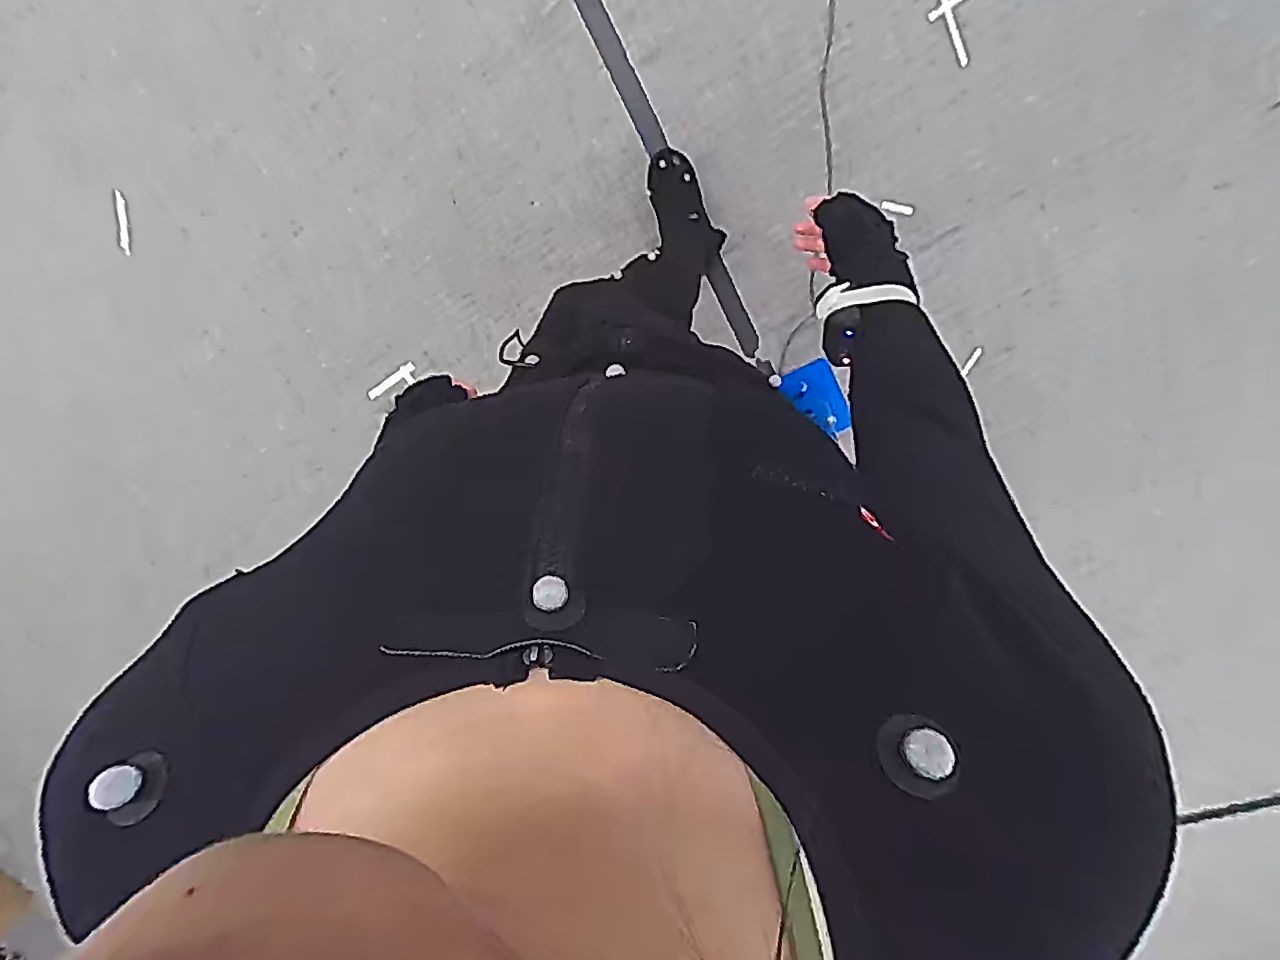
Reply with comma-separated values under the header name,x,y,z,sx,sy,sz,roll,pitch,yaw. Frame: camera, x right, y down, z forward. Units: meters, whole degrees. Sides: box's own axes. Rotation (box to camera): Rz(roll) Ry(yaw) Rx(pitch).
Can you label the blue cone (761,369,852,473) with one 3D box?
name,x,y,z,sx,sy,sz,roll,pitch,yaw
blue cone,0.397,-0.108,1.216,0.193,0.380,0.192,-27,106,17
